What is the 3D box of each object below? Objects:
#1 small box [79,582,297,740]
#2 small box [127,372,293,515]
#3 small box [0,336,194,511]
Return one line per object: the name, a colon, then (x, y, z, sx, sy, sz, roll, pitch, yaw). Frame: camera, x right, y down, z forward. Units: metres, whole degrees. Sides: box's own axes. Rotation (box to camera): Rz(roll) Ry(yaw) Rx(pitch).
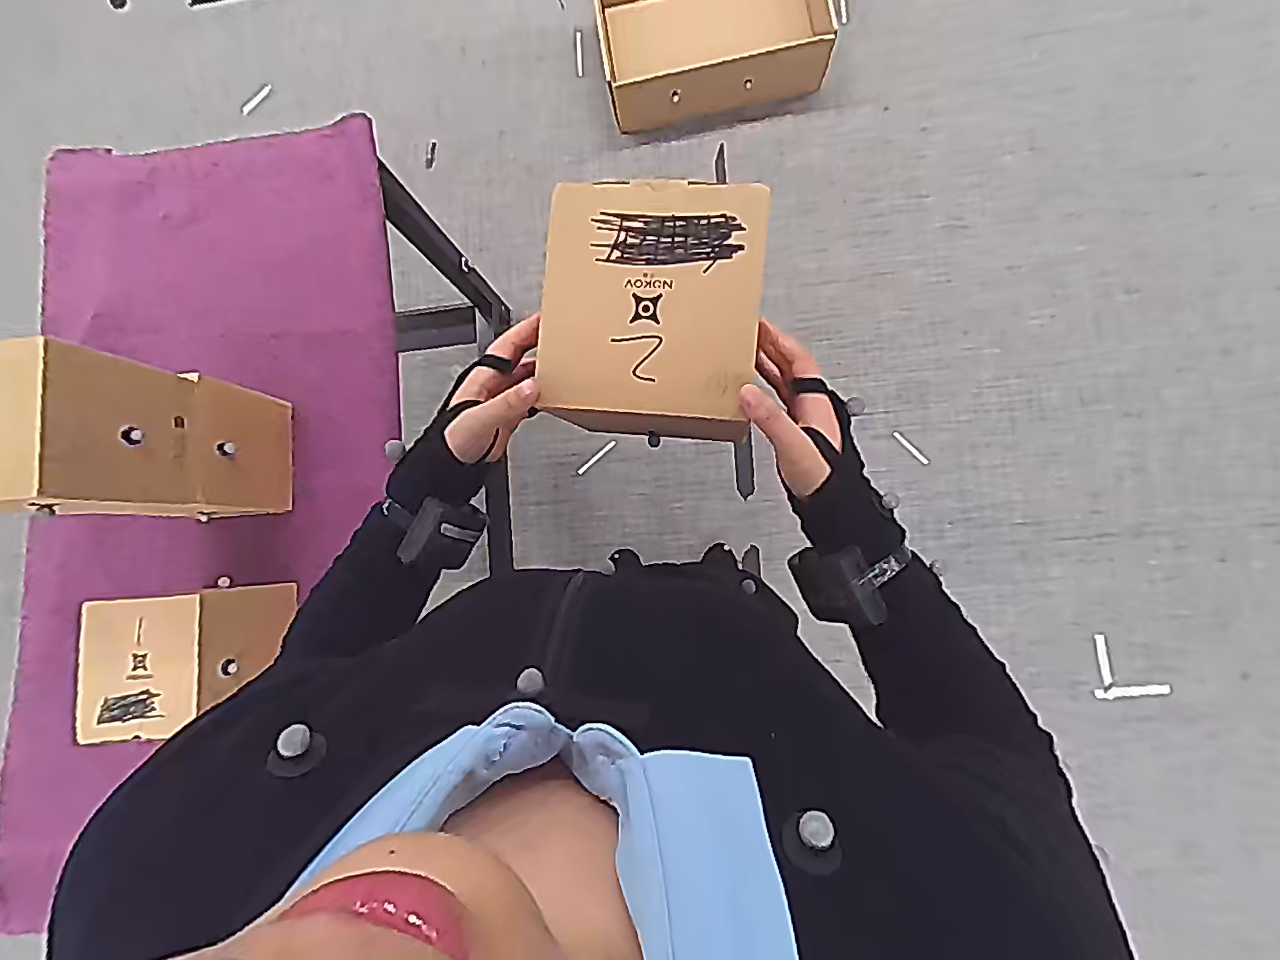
small box: (-0.609, 0.239, 0.749, 0.168, 0.176, 0.179, -4, 83, 5)
small box: (-0.636, -0.044, 0.783, 0.168, 0.176, 0.179, -4, 84, 6)
small box: (-0.661, -0.053, 0.620, 0.179, 0.176, 0.168, -4, 84, 6)
